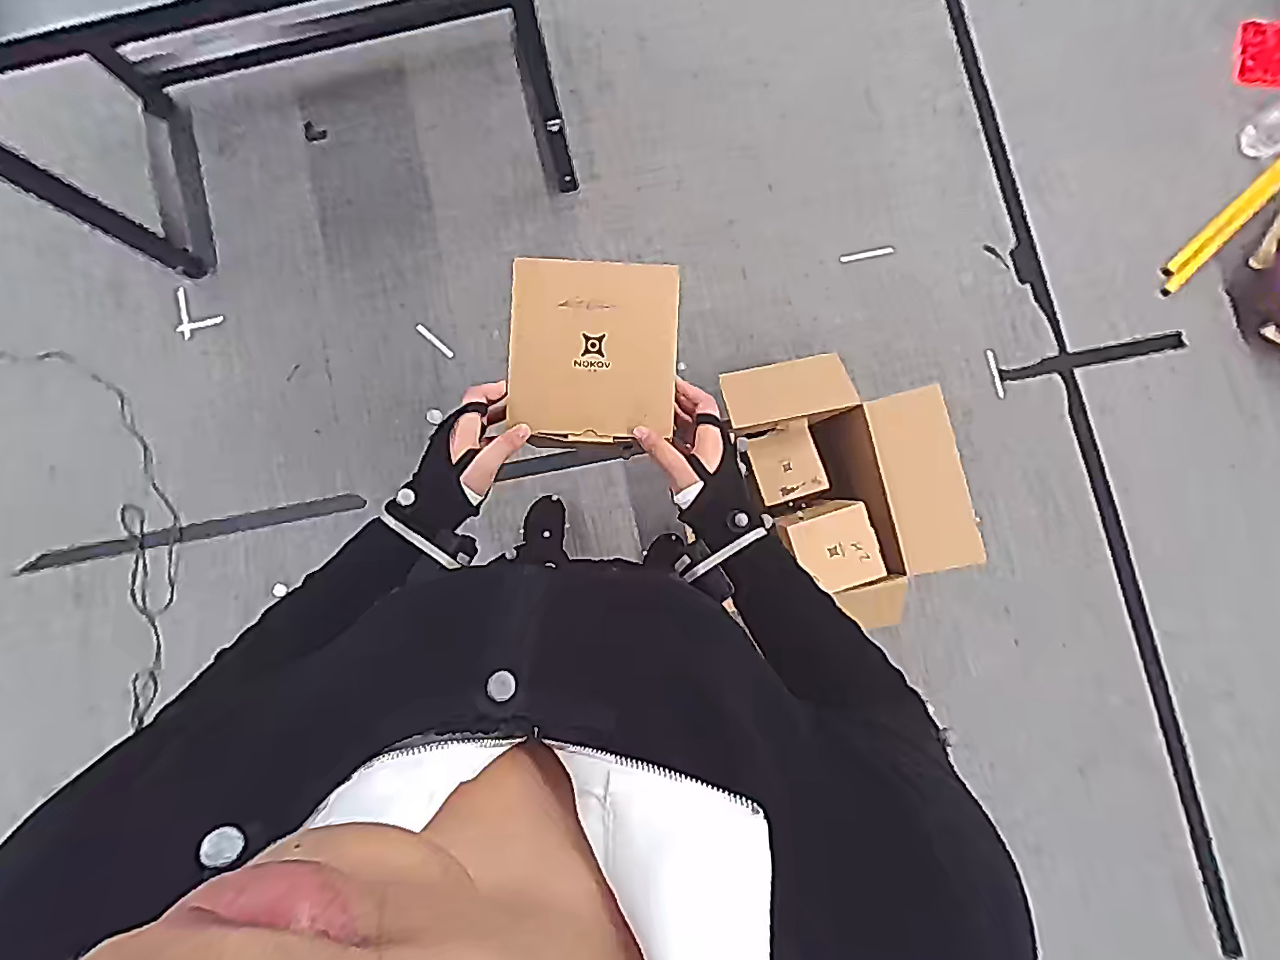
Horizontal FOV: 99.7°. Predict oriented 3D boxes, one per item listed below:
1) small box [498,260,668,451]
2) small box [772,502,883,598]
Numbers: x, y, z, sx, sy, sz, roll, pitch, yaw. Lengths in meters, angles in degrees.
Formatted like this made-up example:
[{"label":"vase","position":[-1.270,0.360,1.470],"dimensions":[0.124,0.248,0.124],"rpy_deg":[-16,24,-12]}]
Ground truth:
[{"label":"small box","position":[-0.057,-0.126,0.608],"dimensions":[0.168,0.176,0.179],"rpy_deg":[1,88,-2]},{"label":"small box","position":[0.413,0.153,1.231],"dimensions":[0.179,0.176,0.168],"rpy_deg":[-18,89,0]}]
